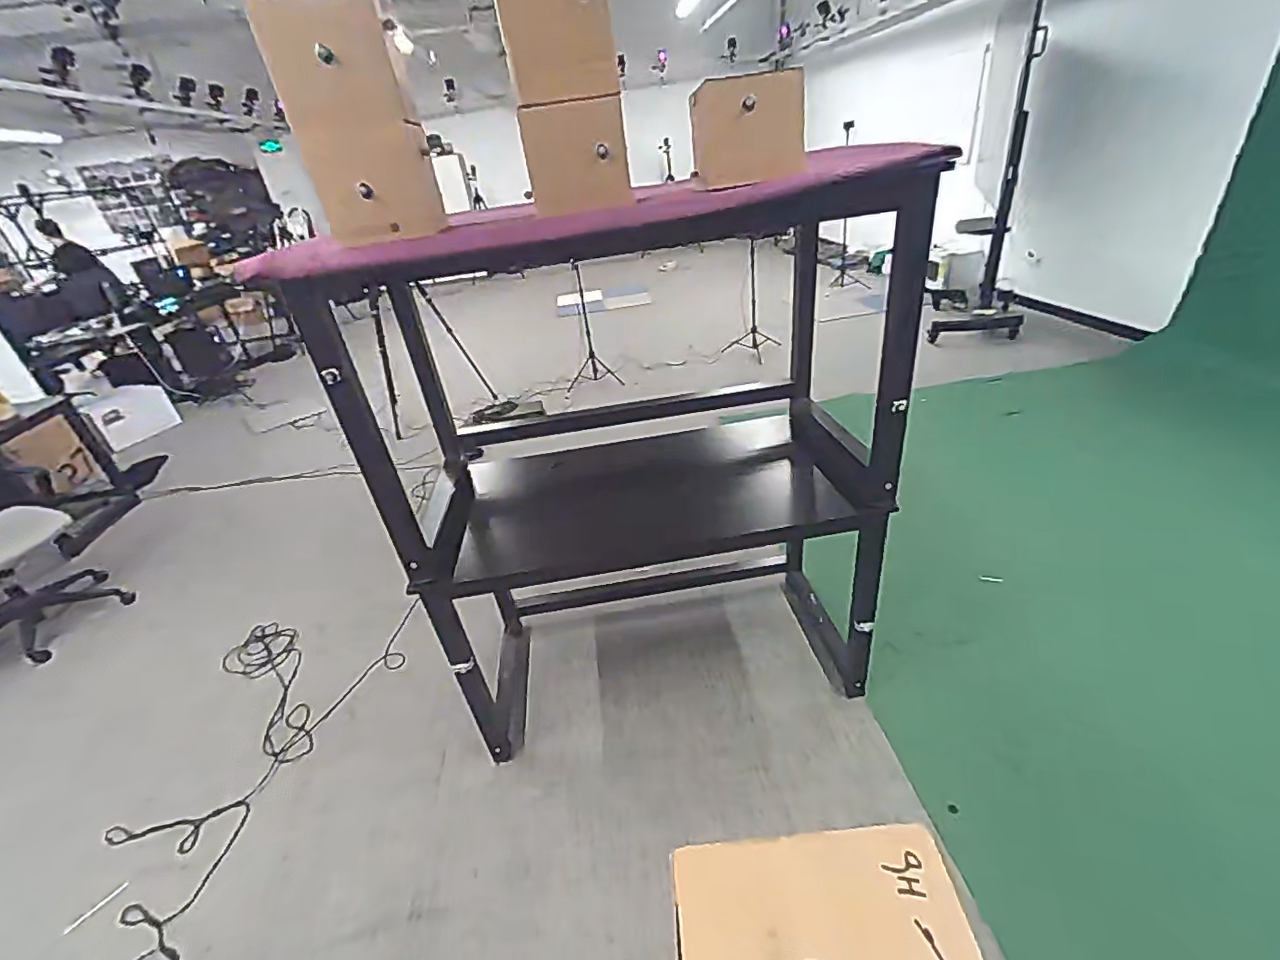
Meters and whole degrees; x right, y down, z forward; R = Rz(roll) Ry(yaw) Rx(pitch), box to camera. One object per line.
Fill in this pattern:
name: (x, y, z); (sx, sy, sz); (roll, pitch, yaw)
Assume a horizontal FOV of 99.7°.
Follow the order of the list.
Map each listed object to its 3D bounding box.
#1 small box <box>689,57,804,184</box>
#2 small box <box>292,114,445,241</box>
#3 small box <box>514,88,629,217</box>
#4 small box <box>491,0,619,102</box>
small box: (0.196, -0.657, 1.009); (0.179, 0.176, 0.168); (-9, 29, -1)
small box: (-0.451, -0.518, 0.933); (0.168, 0.176, 0.179); (-10, 32, -5)
small box: (-0.118, -0.587, 0.976); (0.179, 0.176, 0.168); (-11, 31, -3)
small box: (-0.141, -0.727, 0.894); (0.179, 0.176, 0.168); (-11, 31, -5)
